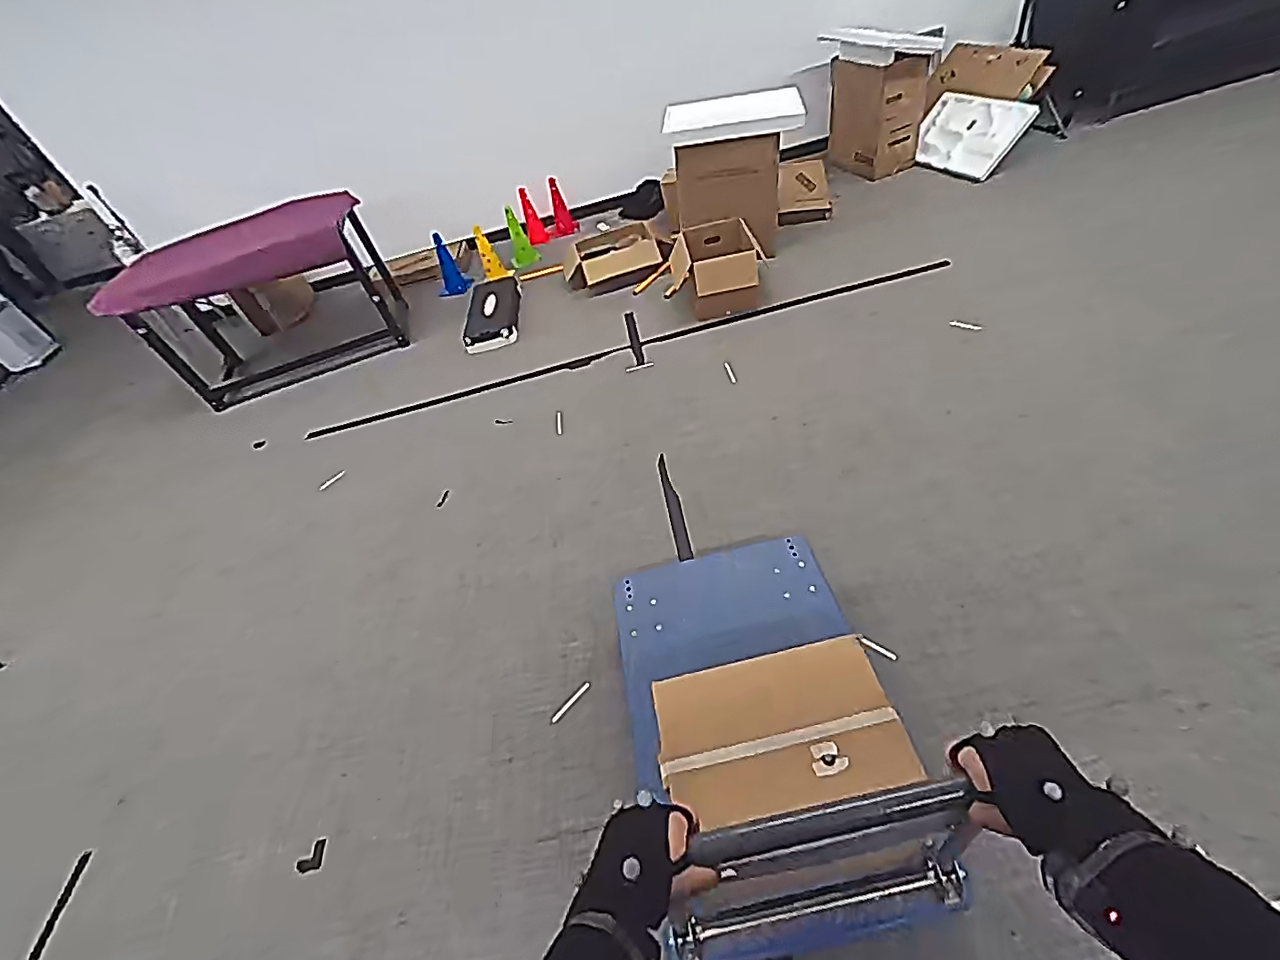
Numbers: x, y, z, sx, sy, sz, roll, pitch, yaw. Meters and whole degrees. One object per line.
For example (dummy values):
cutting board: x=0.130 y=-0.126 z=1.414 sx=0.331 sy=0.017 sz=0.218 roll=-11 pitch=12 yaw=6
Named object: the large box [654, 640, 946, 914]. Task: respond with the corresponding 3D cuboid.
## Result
large box: x=0.268 y=0.555 z=1.011 sx=0.408 sy=0.320 sz=0.320 roll=-14 pitch=45 yaw=1
